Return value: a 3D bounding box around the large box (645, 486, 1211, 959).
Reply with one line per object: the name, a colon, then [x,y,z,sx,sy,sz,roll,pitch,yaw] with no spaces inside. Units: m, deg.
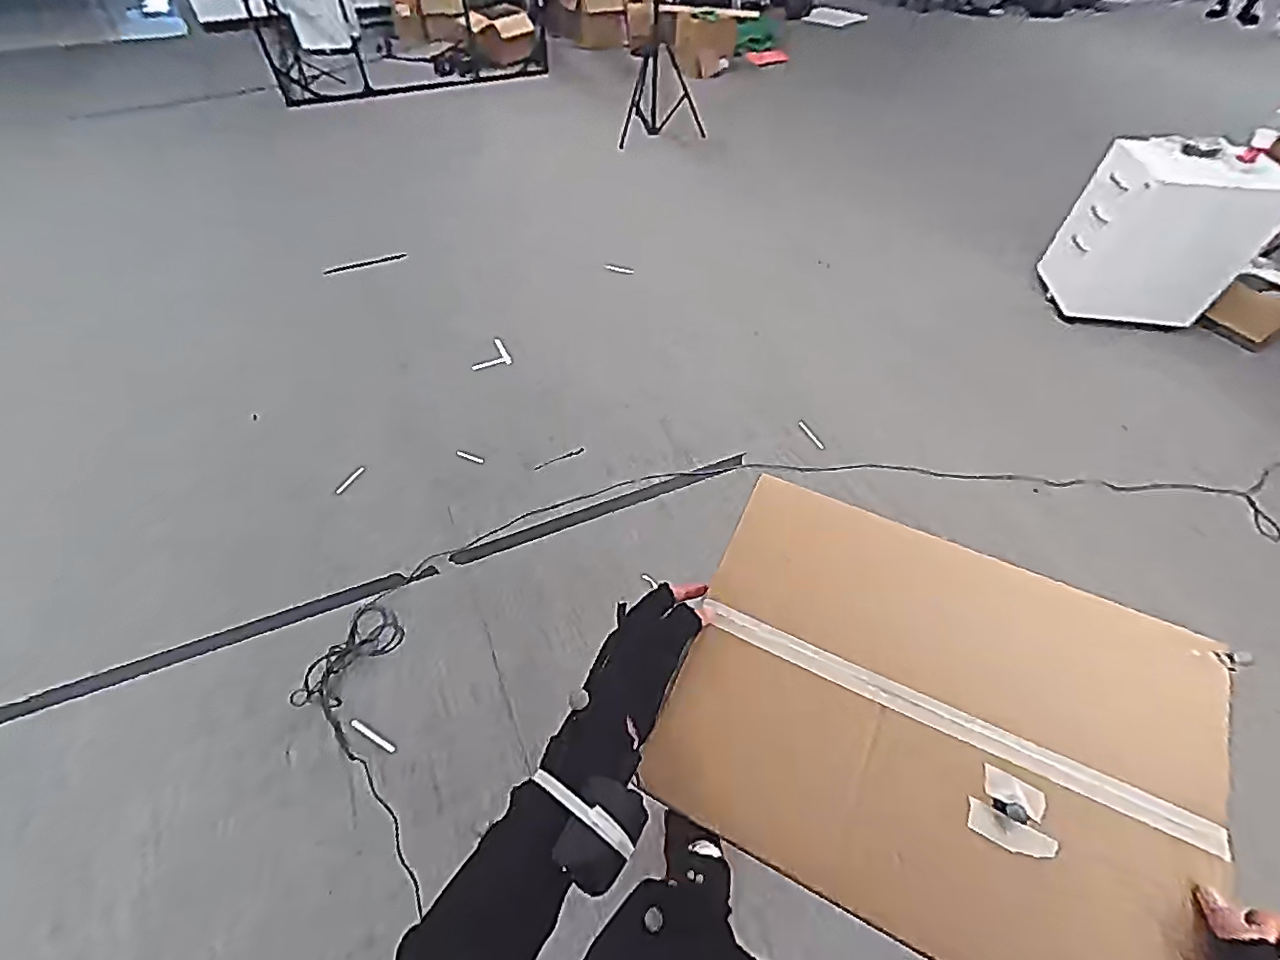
large box: [0.254,0.264,0.588,0.408,0.320,0.320,22,66,16]
